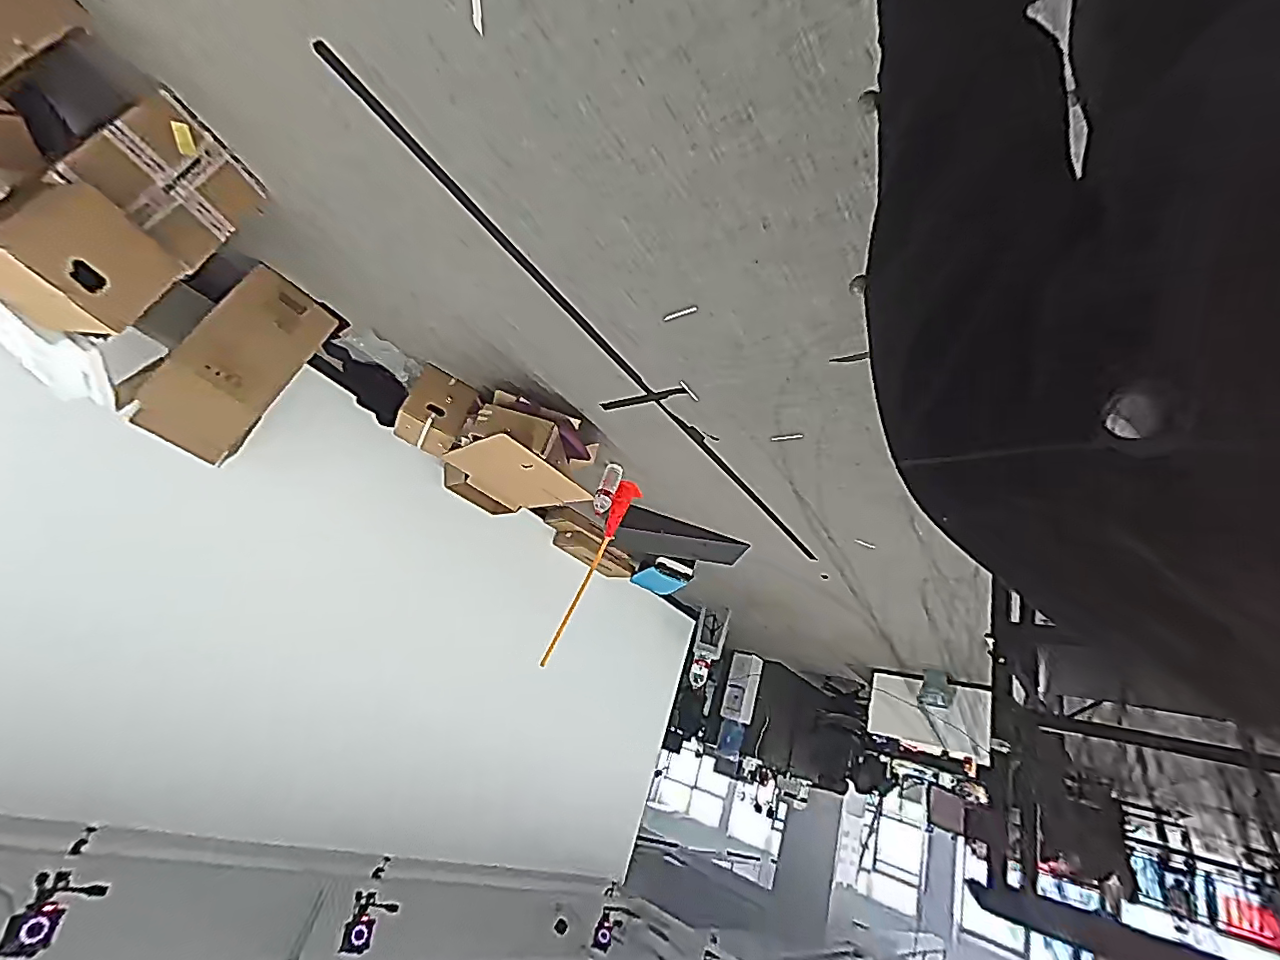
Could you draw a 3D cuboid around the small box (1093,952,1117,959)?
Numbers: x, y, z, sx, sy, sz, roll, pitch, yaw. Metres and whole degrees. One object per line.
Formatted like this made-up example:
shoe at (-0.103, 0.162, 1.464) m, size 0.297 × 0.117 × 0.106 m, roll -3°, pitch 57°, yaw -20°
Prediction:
small box at (1.189, 1.261, 1.281) m, size 0.168 × 0.176 × 0.179 m, roll -5°, pitch 146°, yaw 41°
